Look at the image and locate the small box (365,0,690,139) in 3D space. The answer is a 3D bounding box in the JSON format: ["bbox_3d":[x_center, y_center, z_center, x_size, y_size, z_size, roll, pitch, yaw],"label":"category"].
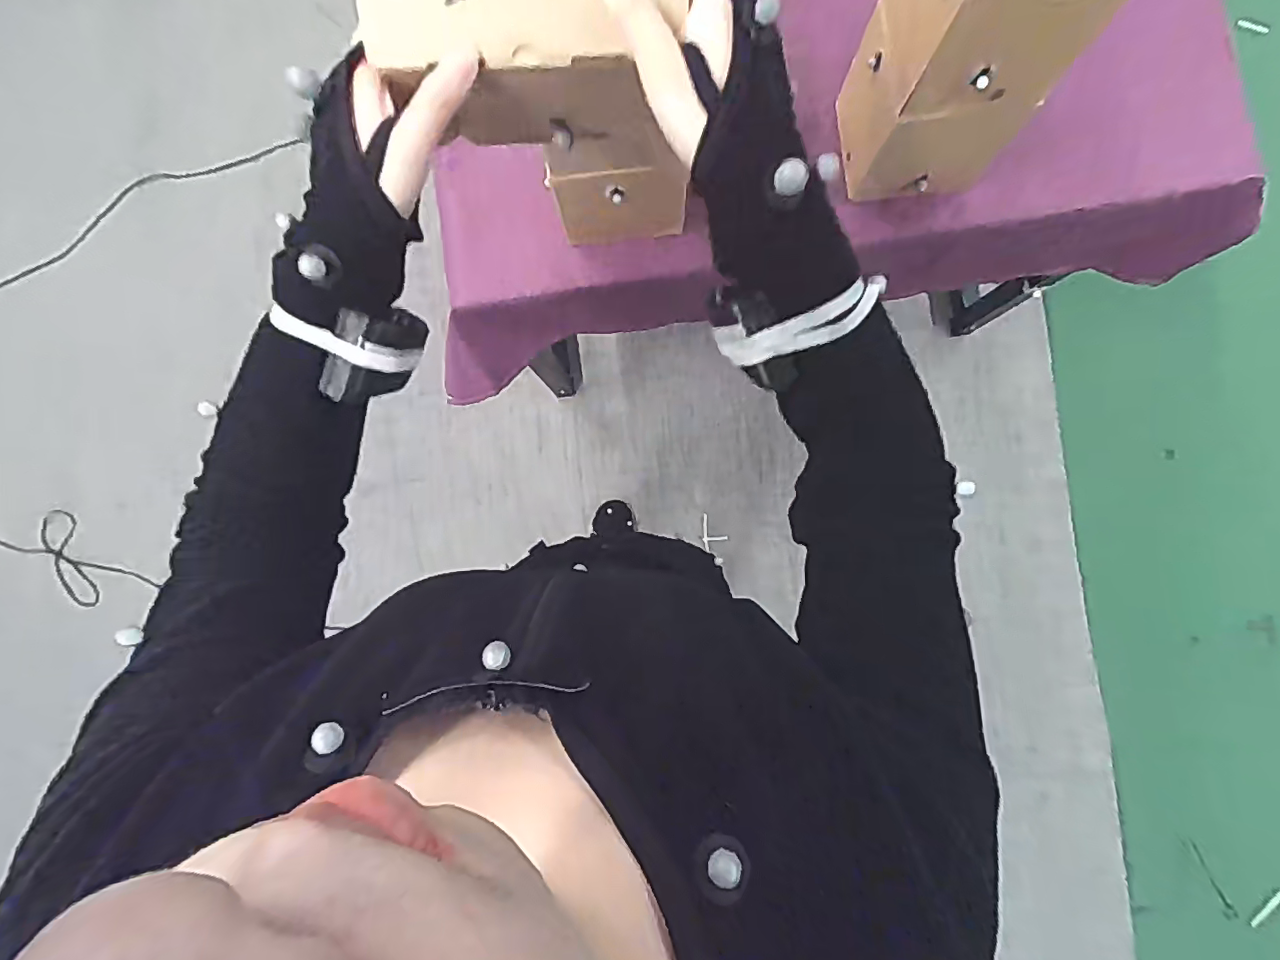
[{"bbox_3d":[-0.055,-0.327,0.324,0.168,0.176,0.179,0,110,3],"label":"small box"}]

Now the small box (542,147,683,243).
[{"bbox_3d":[-0.036,-0.448,0.746,0.179,0.176,0.168,-5,87,1],"label":"small box"}]

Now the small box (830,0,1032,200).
[{"bbox_3d":[0.380,-0.511,0.735,0.179,0.176,0.168,-6,85,1],"label":"small box"}]

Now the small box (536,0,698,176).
[{"bbox_3d":[-0.036,-0.461,0.583,0.179,0.176,0.168,-6,87,3],"label":"small box"}]

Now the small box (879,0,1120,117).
[{"bbox_3d":[0.372,-0.532,0.573,0.168,0.176,0.179,-6,87,2],"label":"small box"}]
